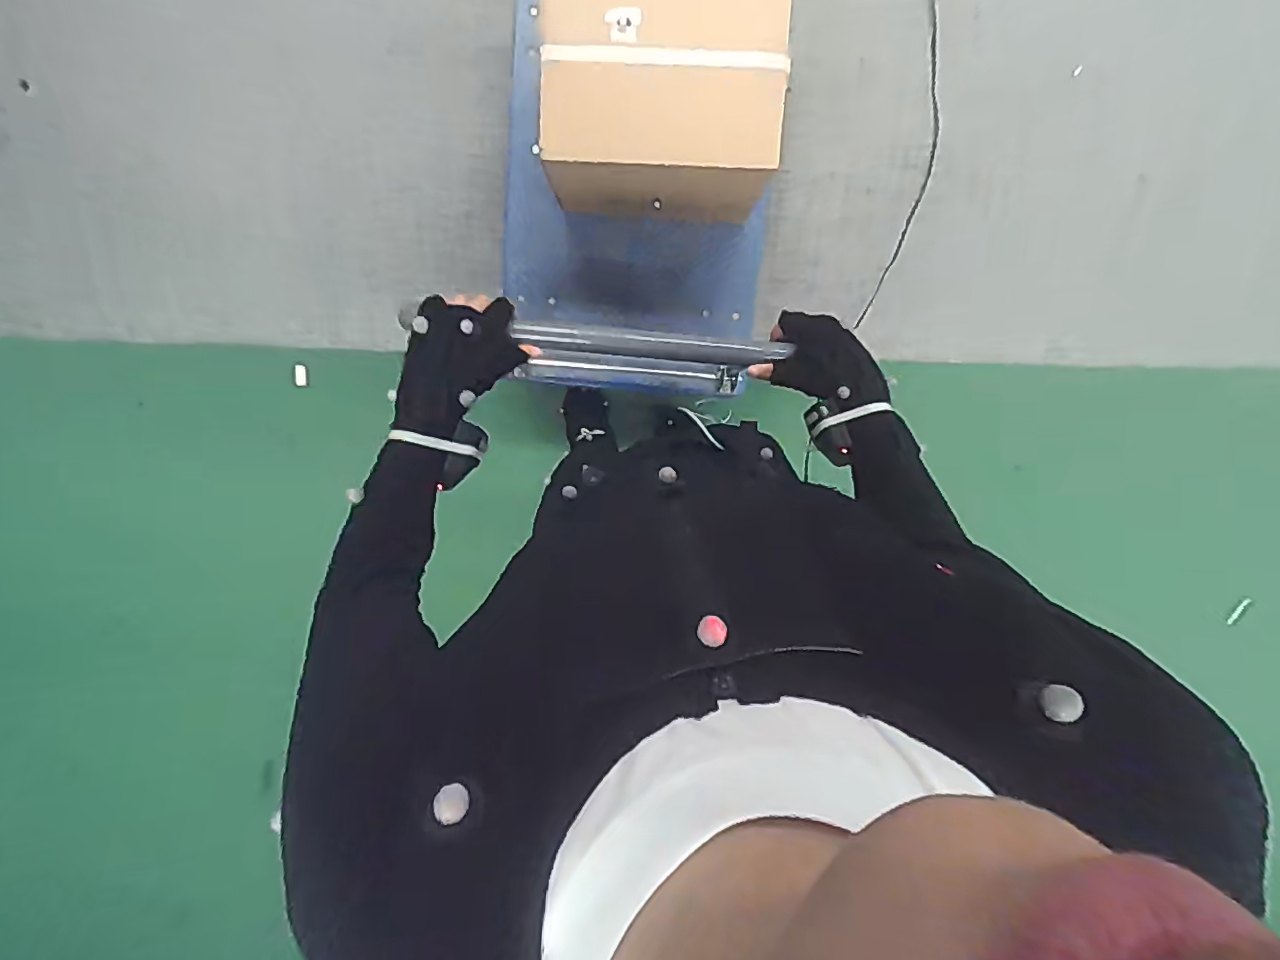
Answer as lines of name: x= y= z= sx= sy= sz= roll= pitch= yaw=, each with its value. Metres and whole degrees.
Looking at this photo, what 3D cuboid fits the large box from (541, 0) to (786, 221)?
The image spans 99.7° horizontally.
large box: x=0.039 y=-0.703 z=1.033 sx=0.408 sy=0.320 sz=0.320 roll=2 pitch=99 yaw=0
